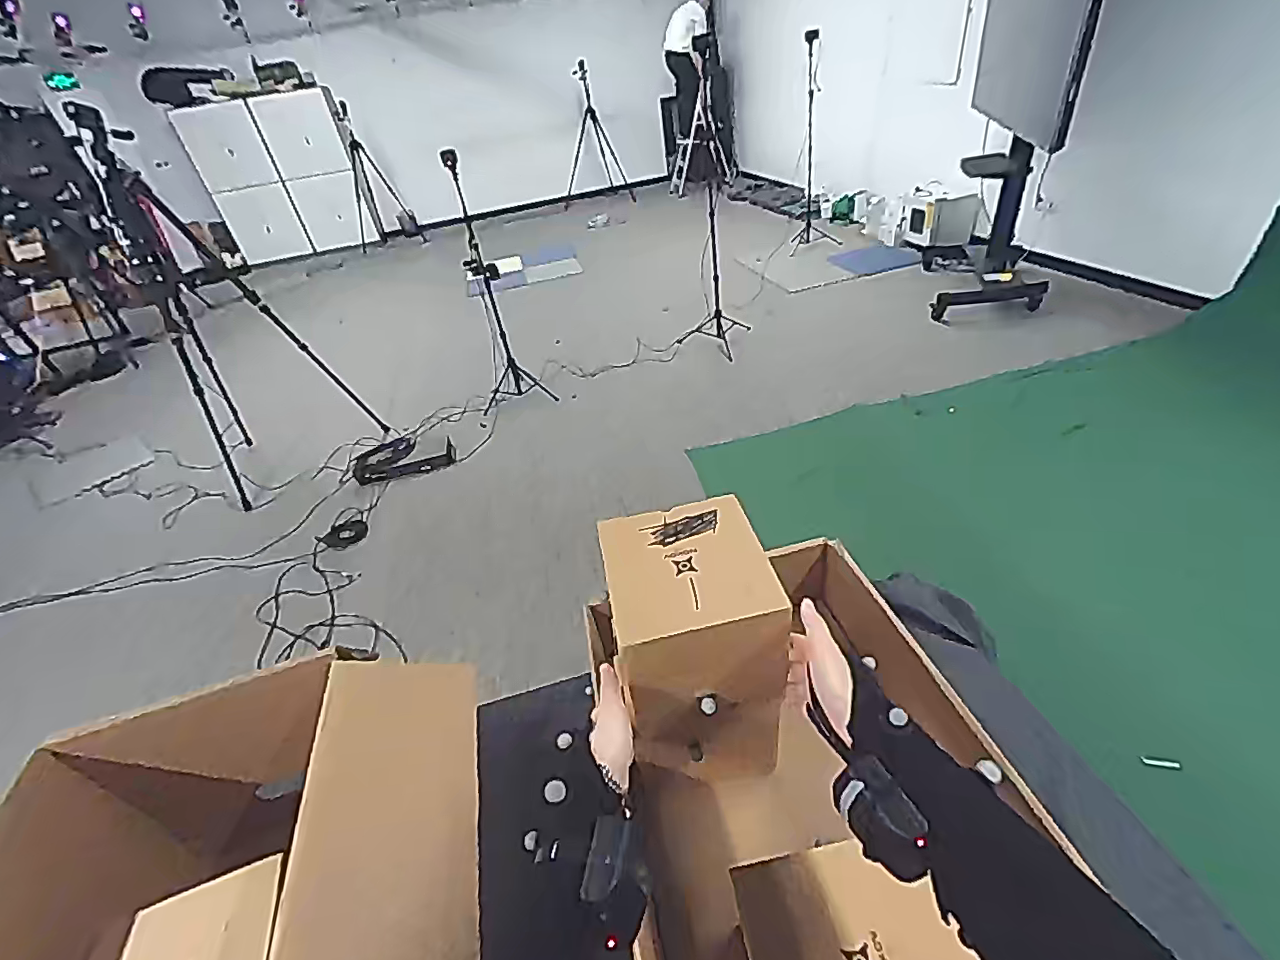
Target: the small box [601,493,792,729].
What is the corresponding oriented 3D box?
[{"bbox_3d":[0.057,0.144,0.609,0.168,0.176,0.179,-12,39,-3],"label":"small box"}]
